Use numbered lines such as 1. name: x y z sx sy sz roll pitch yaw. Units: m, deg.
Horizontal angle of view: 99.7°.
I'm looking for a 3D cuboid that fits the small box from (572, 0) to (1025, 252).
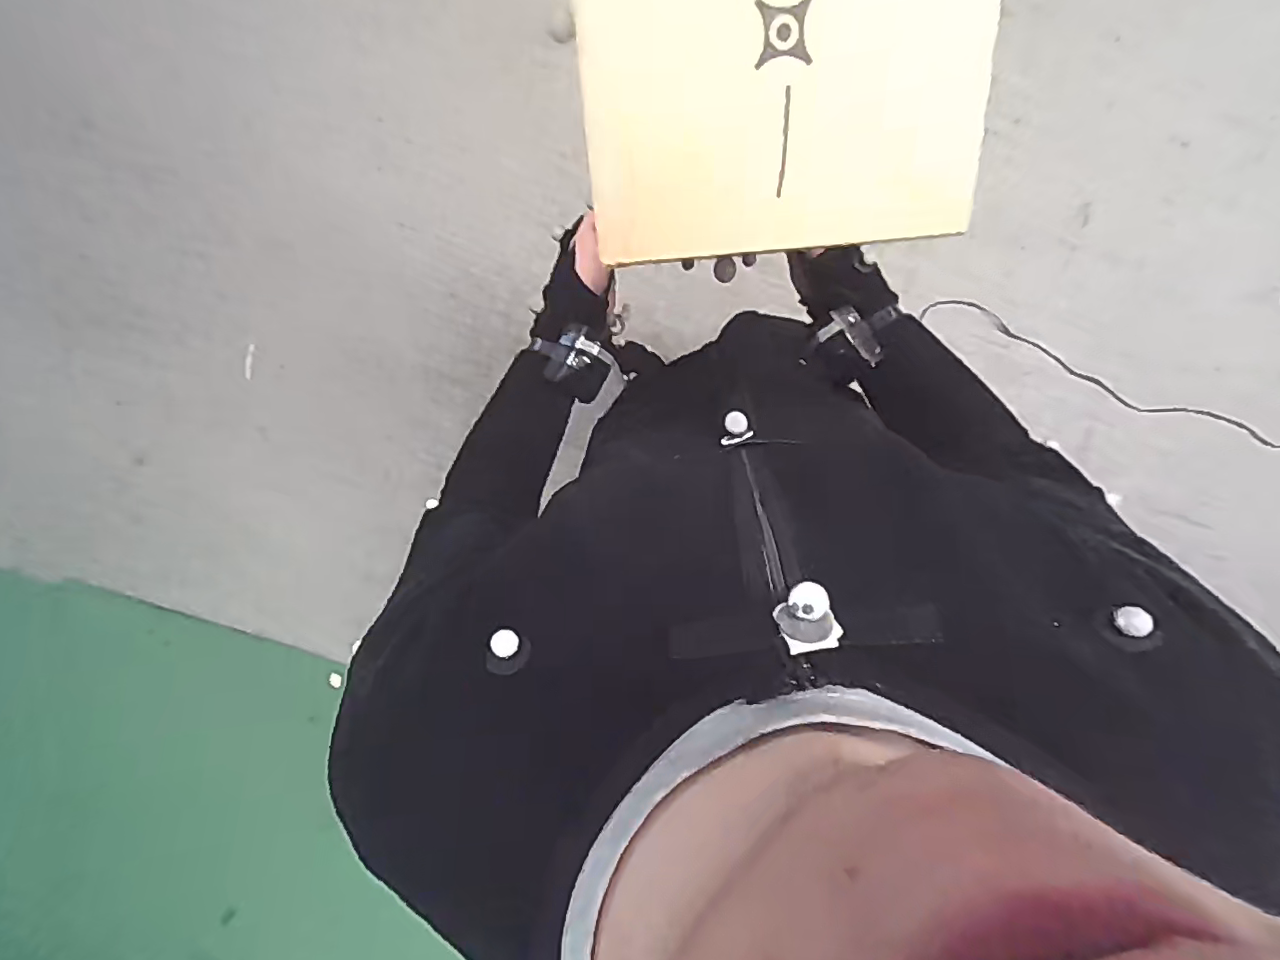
1. small box: 0.053 -0.211 0.262 0.168 0.176 0.179 -4 112 0
